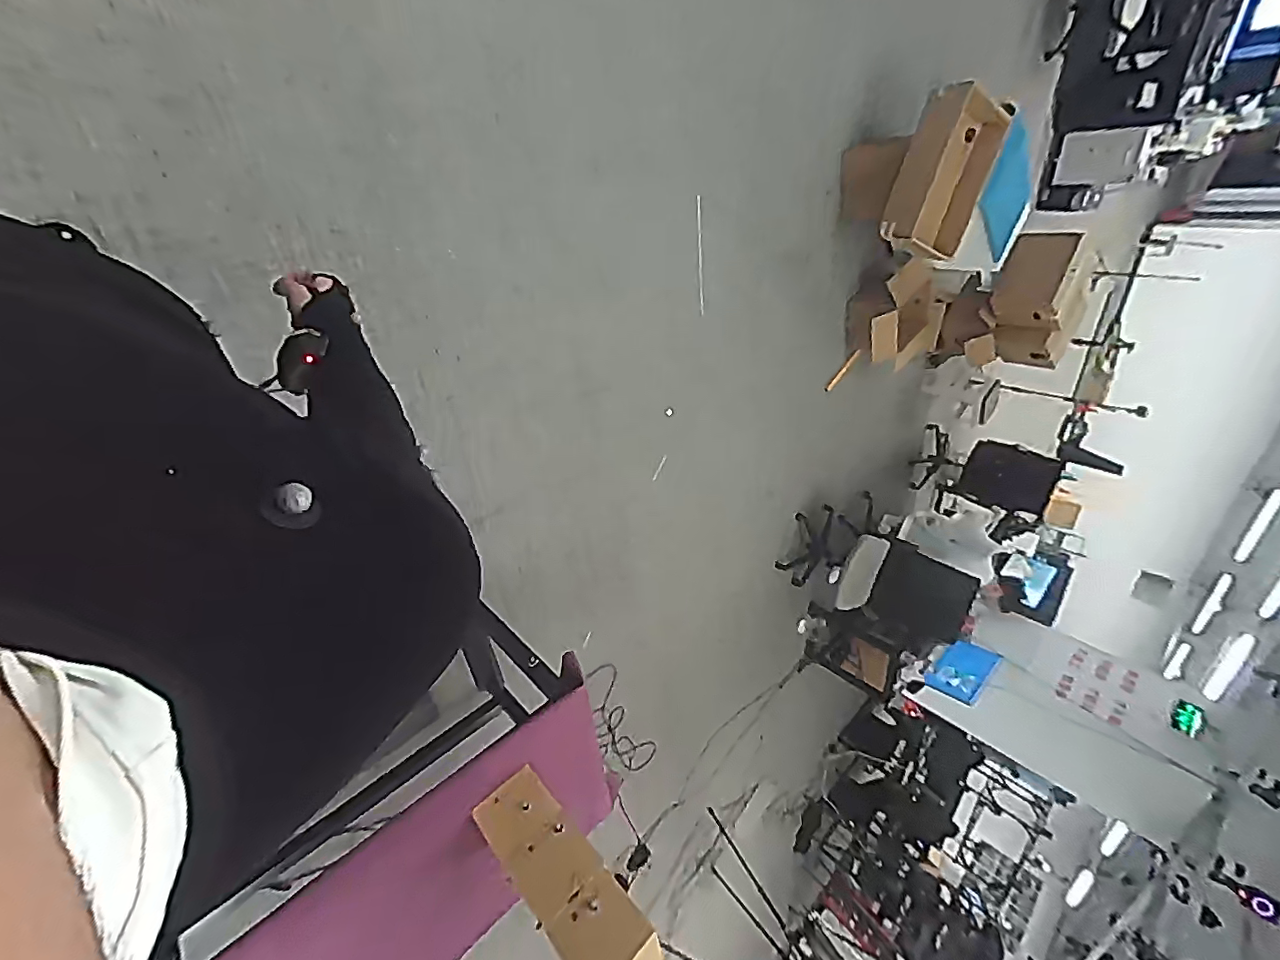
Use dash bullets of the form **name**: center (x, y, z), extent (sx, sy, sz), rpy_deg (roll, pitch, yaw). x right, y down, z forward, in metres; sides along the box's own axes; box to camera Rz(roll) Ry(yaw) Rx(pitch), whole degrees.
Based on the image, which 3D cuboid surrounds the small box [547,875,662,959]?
- **small box**: center (-0.073, 0.989, 1.138), extent (0.168, 0.176, 0.179), rpy_deg (-31, 129, -33)

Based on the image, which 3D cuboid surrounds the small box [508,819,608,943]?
- **small box**: center (-0.182, 0.927, 1.243), extent (0.168, 0.176, 0.179), rpy_deg (-30, 130, -32)

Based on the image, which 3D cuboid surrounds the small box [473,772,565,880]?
- **small box**: center (-0.292, 0.874, 1.352), extent (0.168, 0.176, 0.179), rpy_deg (-31, 130, -32)
